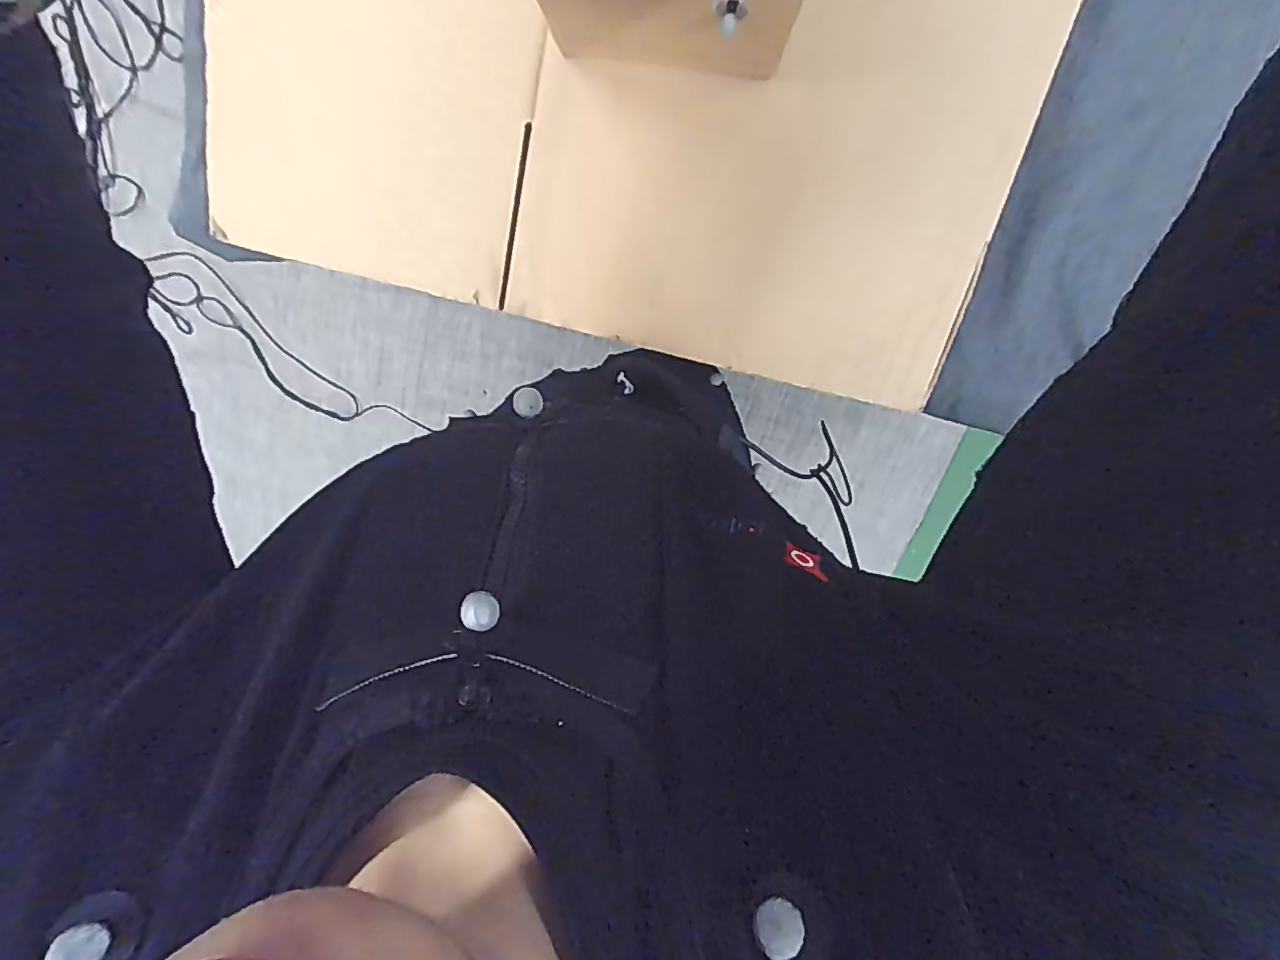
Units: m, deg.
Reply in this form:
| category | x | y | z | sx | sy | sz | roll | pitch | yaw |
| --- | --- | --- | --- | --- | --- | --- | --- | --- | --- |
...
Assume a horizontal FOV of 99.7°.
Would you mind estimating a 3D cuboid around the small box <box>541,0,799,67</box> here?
| category | x | y | z | sx | sy | sz | roll | pitch | yaw |
| --- | --- | --- | --- | --- | --- | --- | --- | --- | --- |
| small box | 0.025 | -0.383 | 0.324 | 0.179 | 0.176 | 0.168 | 7 | 106 | 2 |
